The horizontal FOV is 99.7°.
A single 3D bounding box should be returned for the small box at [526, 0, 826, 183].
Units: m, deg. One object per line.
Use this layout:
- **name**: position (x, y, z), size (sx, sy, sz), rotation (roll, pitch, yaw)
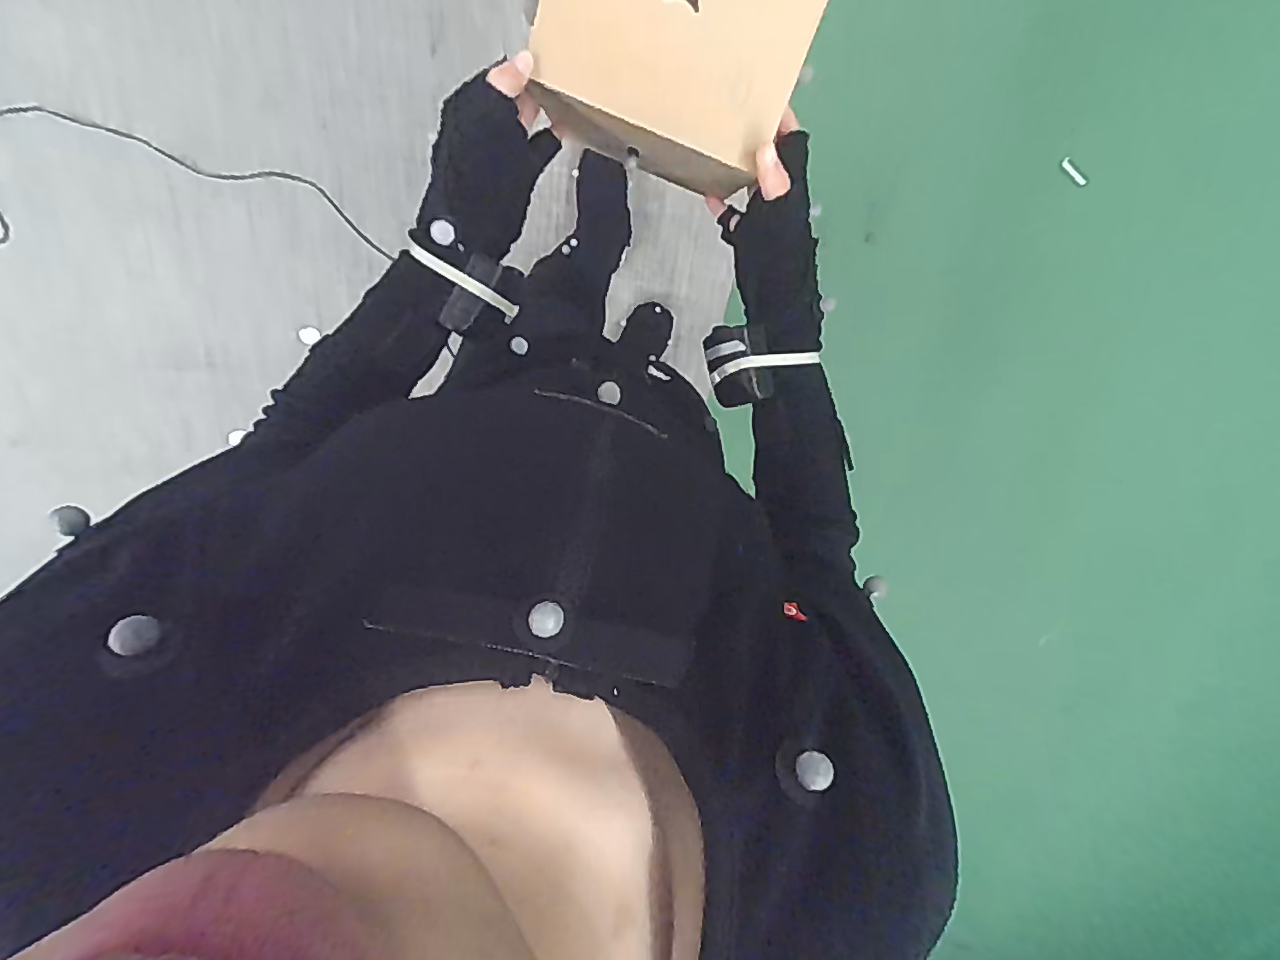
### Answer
- **small box**: position (0.034, -0.338, 0.387), size (0.168, 0.176, 0.179), rotation (18, 110, -9)
